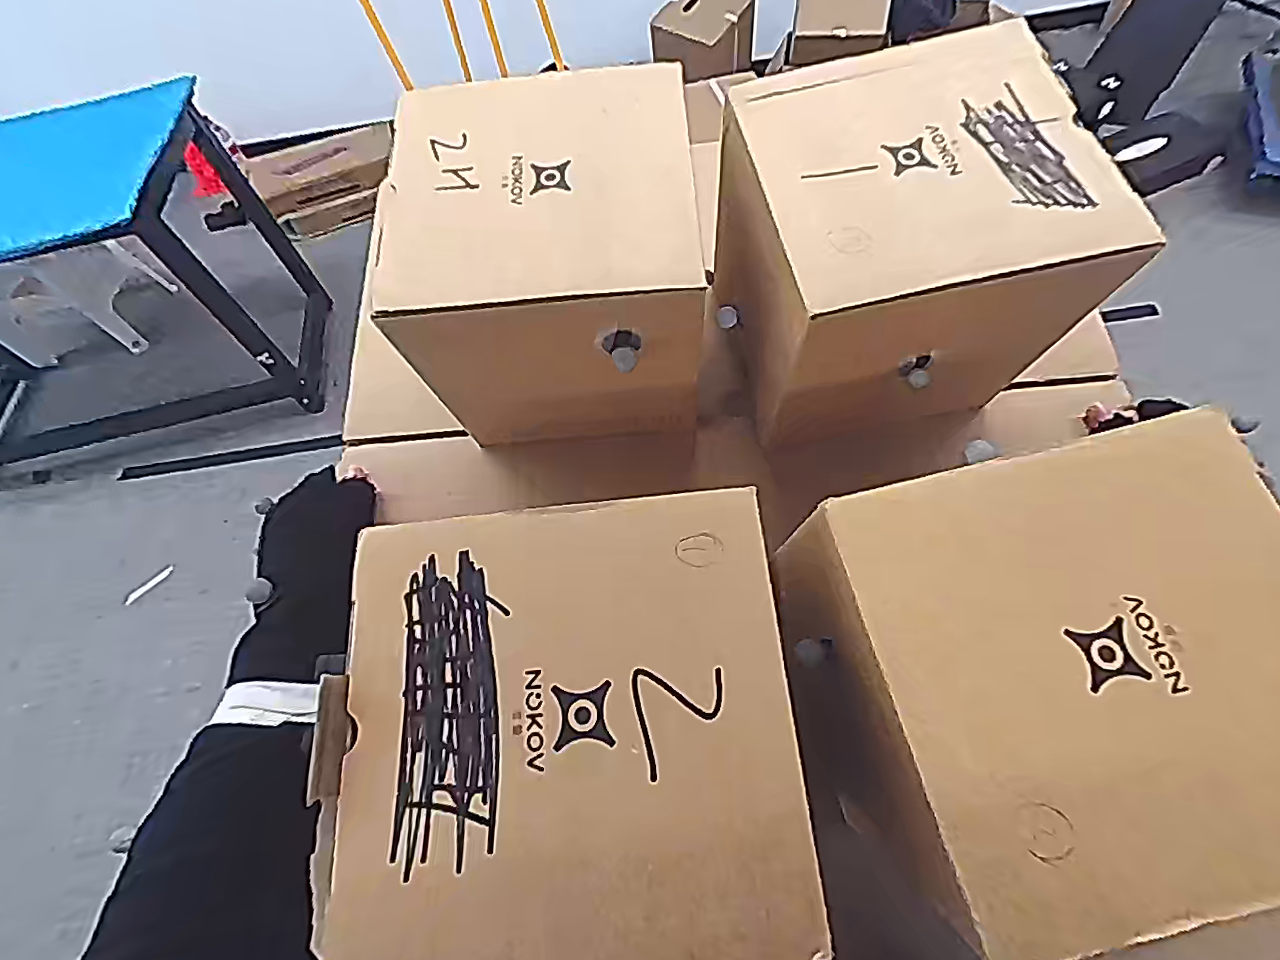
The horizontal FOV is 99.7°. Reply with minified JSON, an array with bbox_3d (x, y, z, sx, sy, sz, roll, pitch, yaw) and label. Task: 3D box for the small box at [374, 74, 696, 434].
[{"bbox_3d":[-0.055,-0.143,0.389,0.179,0.176,0.168,-4,69,4],"label":"small box"}]
